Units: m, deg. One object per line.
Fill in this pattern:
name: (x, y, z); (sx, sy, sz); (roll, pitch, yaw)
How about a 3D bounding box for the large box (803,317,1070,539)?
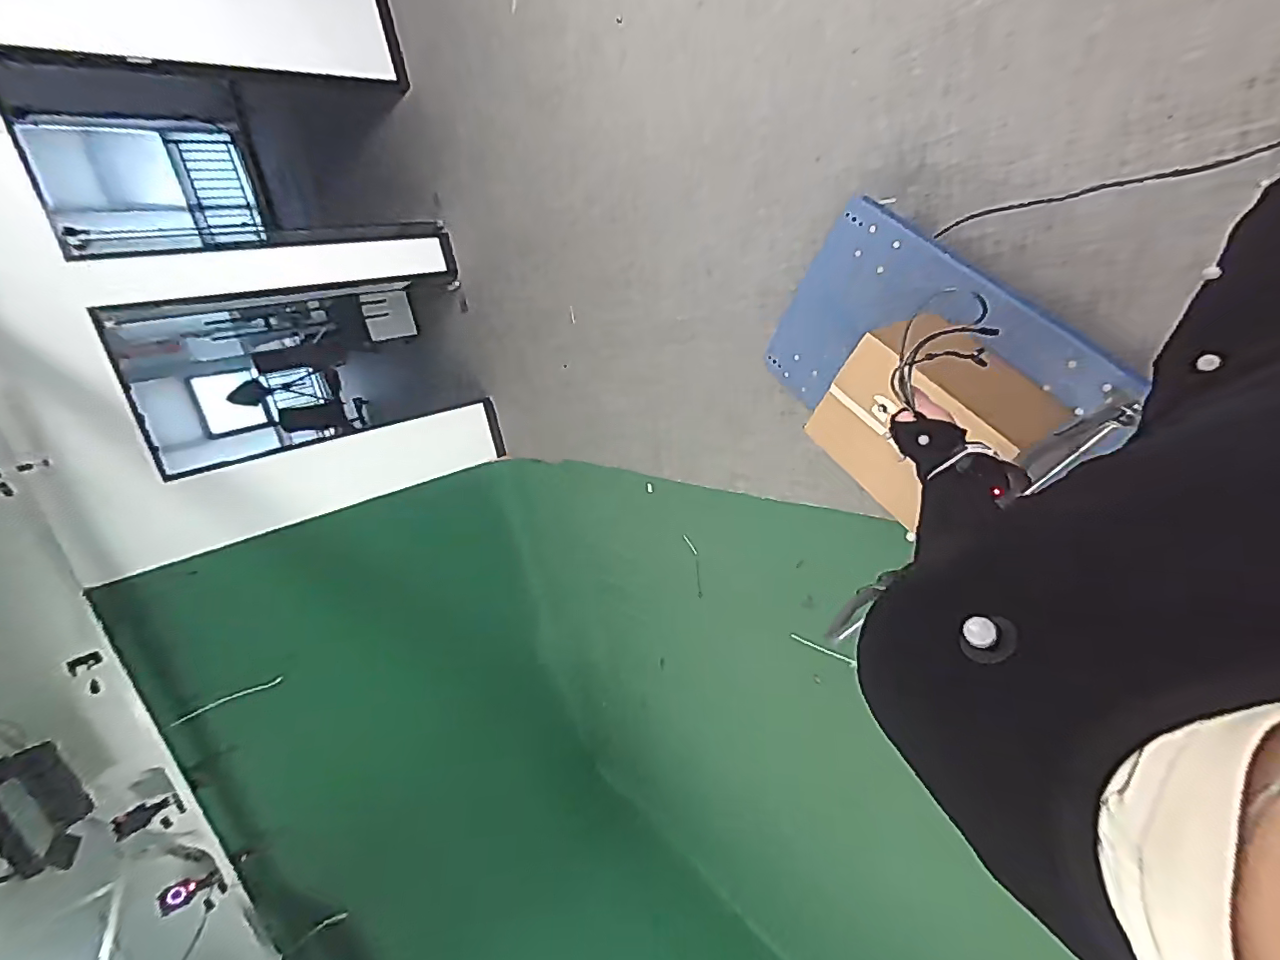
large box: (0.696, -0.137, 1.311); (0.408, 0.320, 0.320); (51, 142, 26)
